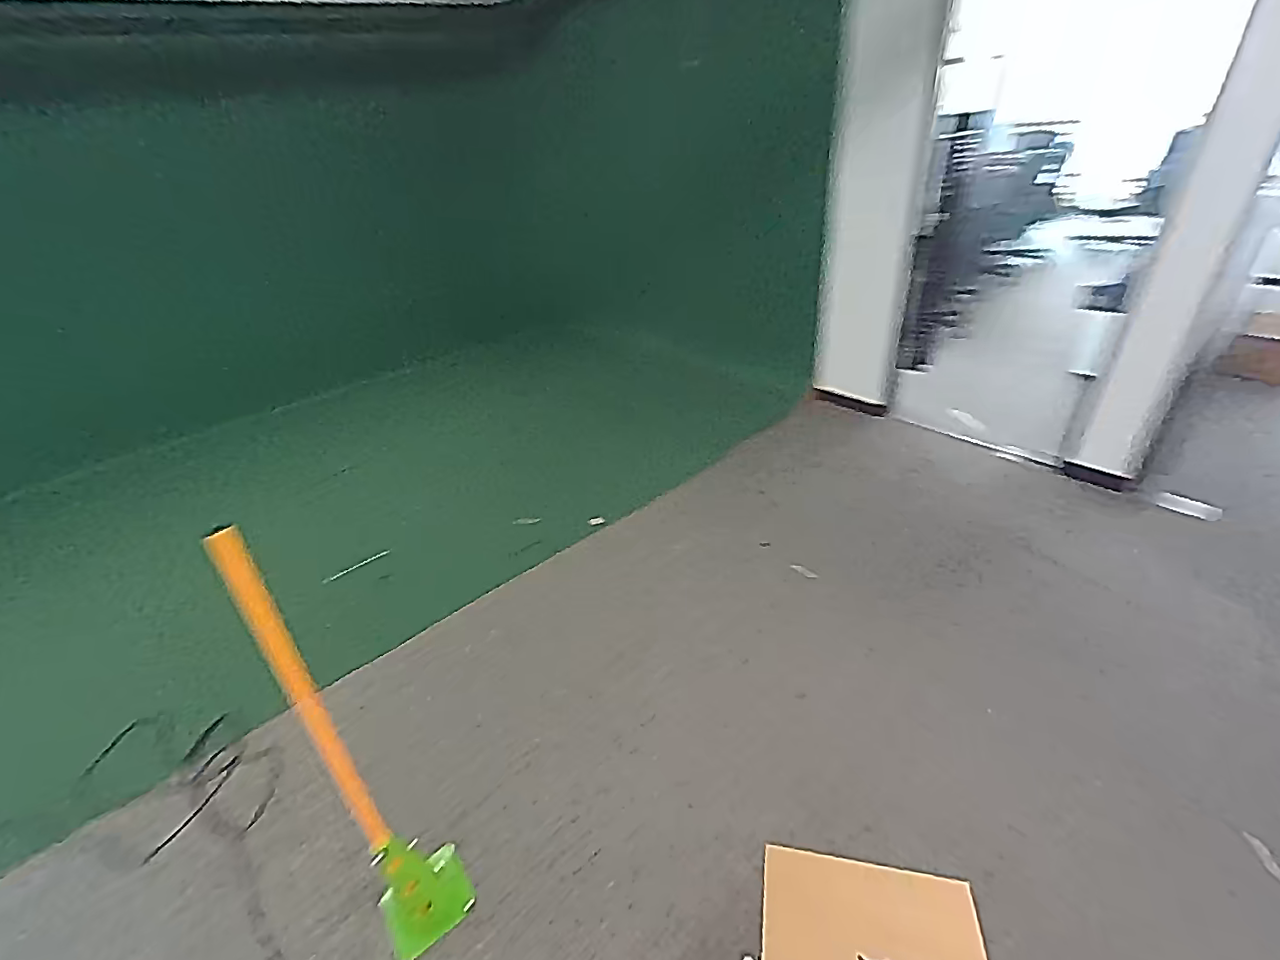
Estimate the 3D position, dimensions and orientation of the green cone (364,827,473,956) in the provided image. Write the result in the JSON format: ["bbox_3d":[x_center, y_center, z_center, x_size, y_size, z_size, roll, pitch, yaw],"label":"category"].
[{"bbox_3d":[-0.585,0.952,1.334,0.202,0.368,0.200,-28,39,-27],"label":"green cone"}]
